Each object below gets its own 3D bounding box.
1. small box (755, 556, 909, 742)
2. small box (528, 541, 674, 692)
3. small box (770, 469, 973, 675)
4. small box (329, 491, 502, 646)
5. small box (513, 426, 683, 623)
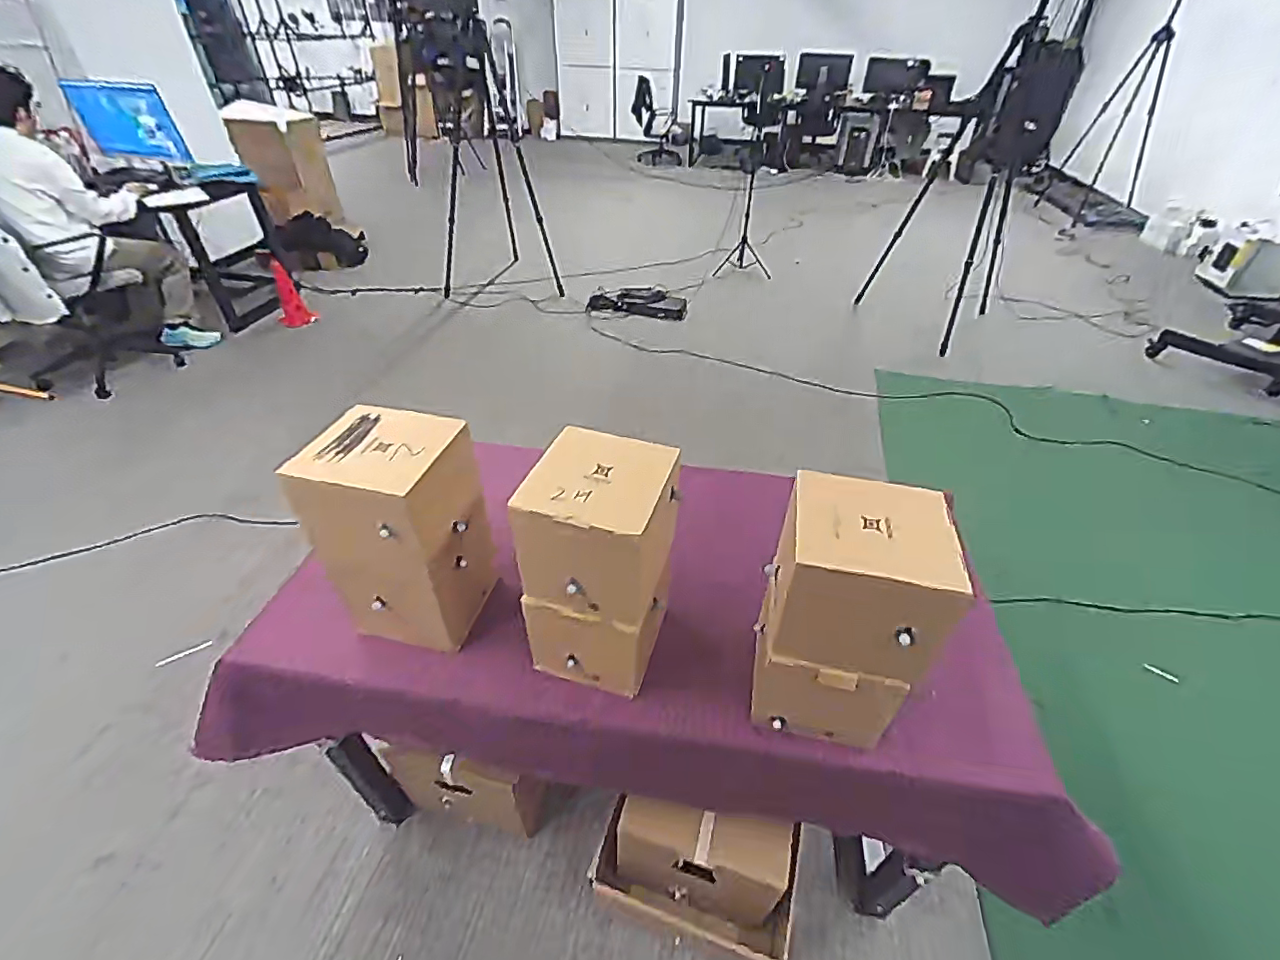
[{"bbox_3d":[0.259,0.238,0.763,0.168,0.176,0.179,9,40,10],"label":"small box"},{"bbox_3d":[-0.052,0.185,0.824,0.168,0.176,0.179,12,43,13],"label":"small box"},{"bbox_3d":[0.265,0.112,0.659,0.179,0.176,0.168,9,40,11],"label":"small box"},{"bbox_3d":[-0.344,0.143,0.866,0.179,0.176,0.168,8,42,10],"label":"small box"},{"bbox_3d":[-0.048,0.056,0.722,0.168,0.176,0.179,12,42,14],"label":"small box"}]
